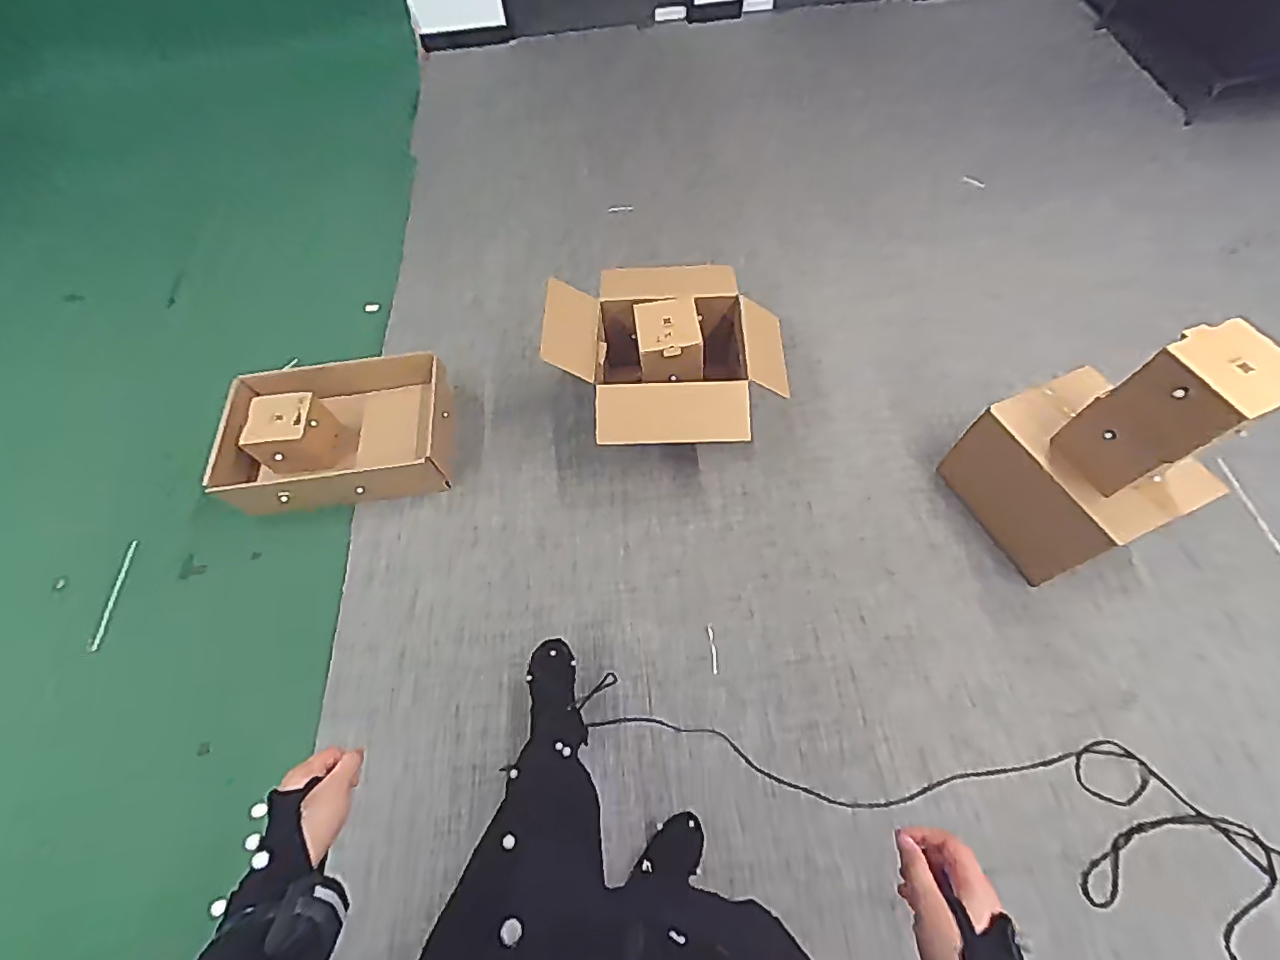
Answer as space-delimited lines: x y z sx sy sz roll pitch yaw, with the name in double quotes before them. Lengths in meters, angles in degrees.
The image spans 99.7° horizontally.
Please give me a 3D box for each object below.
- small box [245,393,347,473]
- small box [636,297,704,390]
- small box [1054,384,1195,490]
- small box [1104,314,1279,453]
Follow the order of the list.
"small box" -1.008 -0.133 1.599 0.179 0.176 0.168 -7 61 0
"small box" 0.084 -0.377 1.509 0.168 0.176 0.179 -8 62 2
"small box" 1.062 -0.107 1.170 0.168 0.176 0.179 -23 63 -7
"small box" 1.055 -0.172 1.021 0.168 0.176 0.179 -22 62 -6
